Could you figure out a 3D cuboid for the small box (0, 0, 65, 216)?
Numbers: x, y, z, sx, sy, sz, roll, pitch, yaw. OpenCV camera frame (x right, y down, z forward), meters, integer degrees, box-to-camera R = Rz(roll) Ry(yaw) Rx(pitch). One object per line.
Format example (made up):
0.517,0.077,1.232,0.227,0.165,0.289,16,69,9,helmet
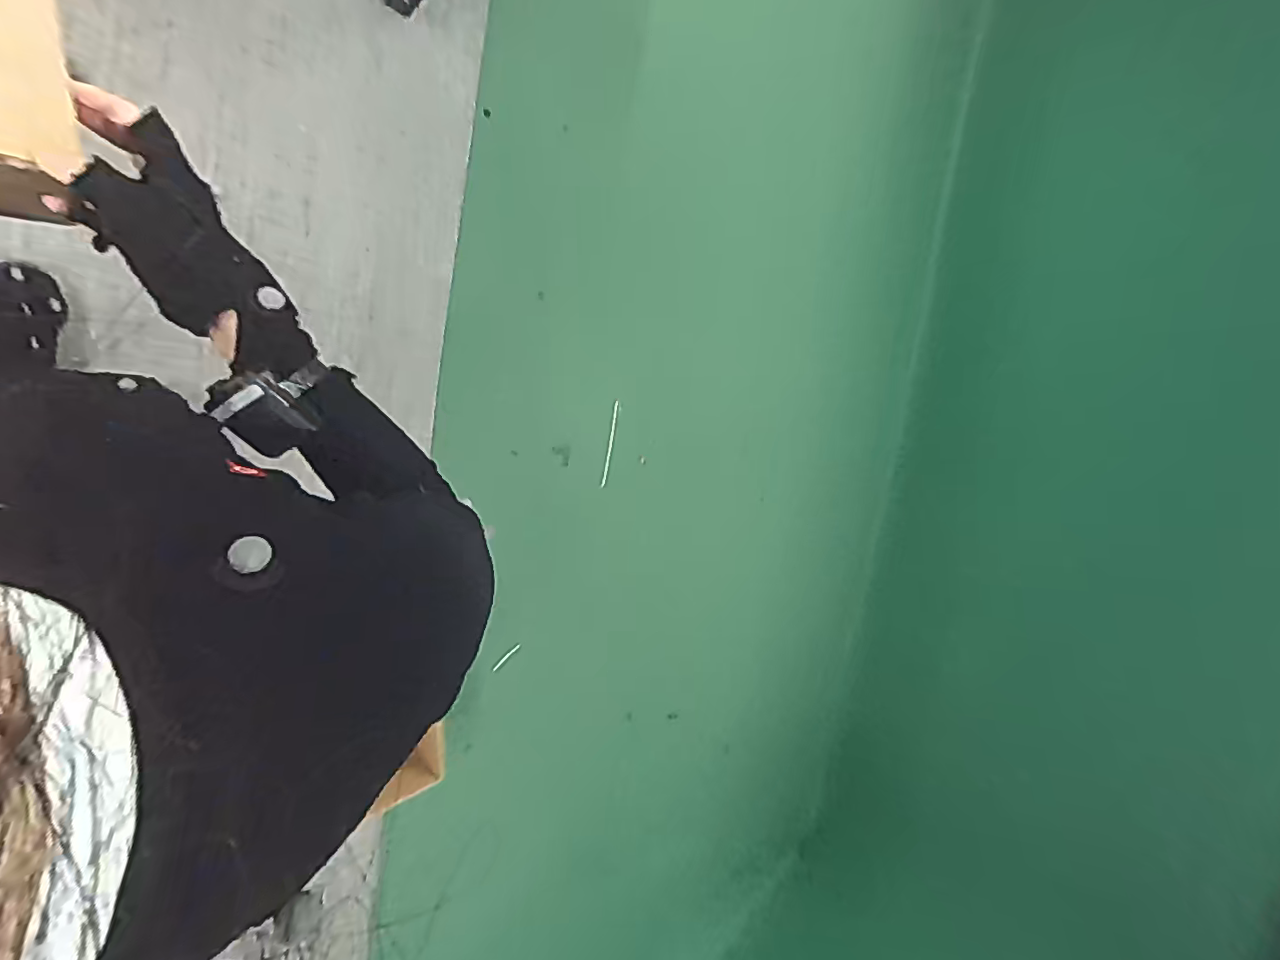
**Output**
-0.461,-0.268,0.307,0.168,0.176,0.179,-13,105,-45,small box
